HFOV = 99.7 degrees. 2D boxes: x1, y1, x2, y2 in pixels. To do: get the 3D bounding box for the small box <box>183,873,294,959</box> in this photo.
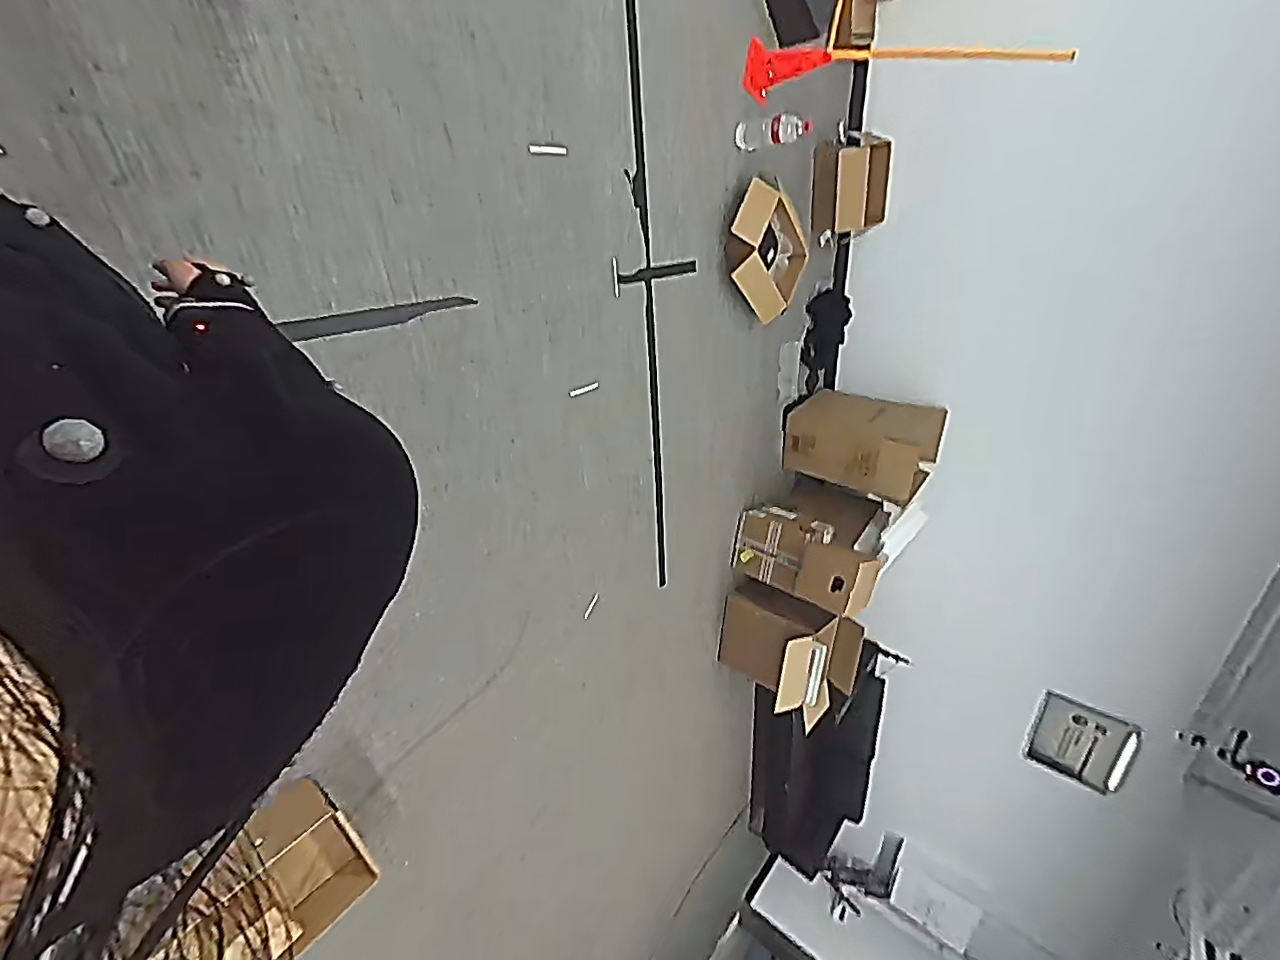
[{"bbox_3d":[-1.084,1.220,1.463,0.168,0.176,0.179,-37,132,-39],"label":"small box"}]
